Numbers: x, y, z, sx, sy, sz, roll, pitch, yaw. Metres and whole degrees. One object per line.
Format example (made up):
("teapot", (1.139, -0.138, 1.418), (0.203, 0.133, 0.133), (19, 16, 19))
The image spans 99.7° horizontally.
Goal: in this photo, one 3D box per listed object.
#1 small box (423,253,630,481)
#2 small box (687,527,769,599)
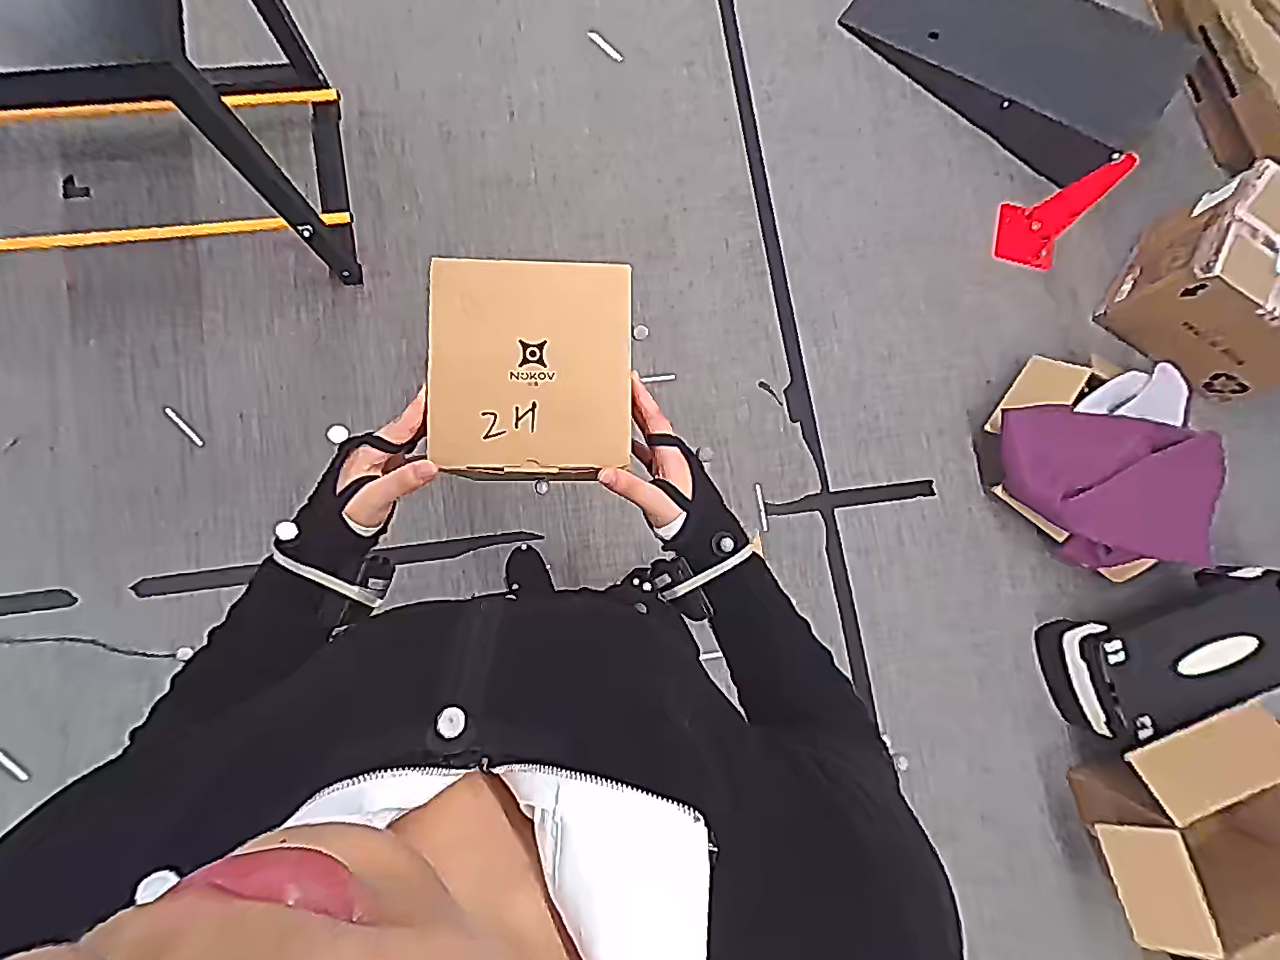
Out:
("small box", (-0.097, -0.093, 0.522), (0.168, 0.176, 0.179), (0, 86, -4))
("small box", (0.227, 0.222, 1.452), (0.179, 0.176, 0.168), (-8, 84, -5))
